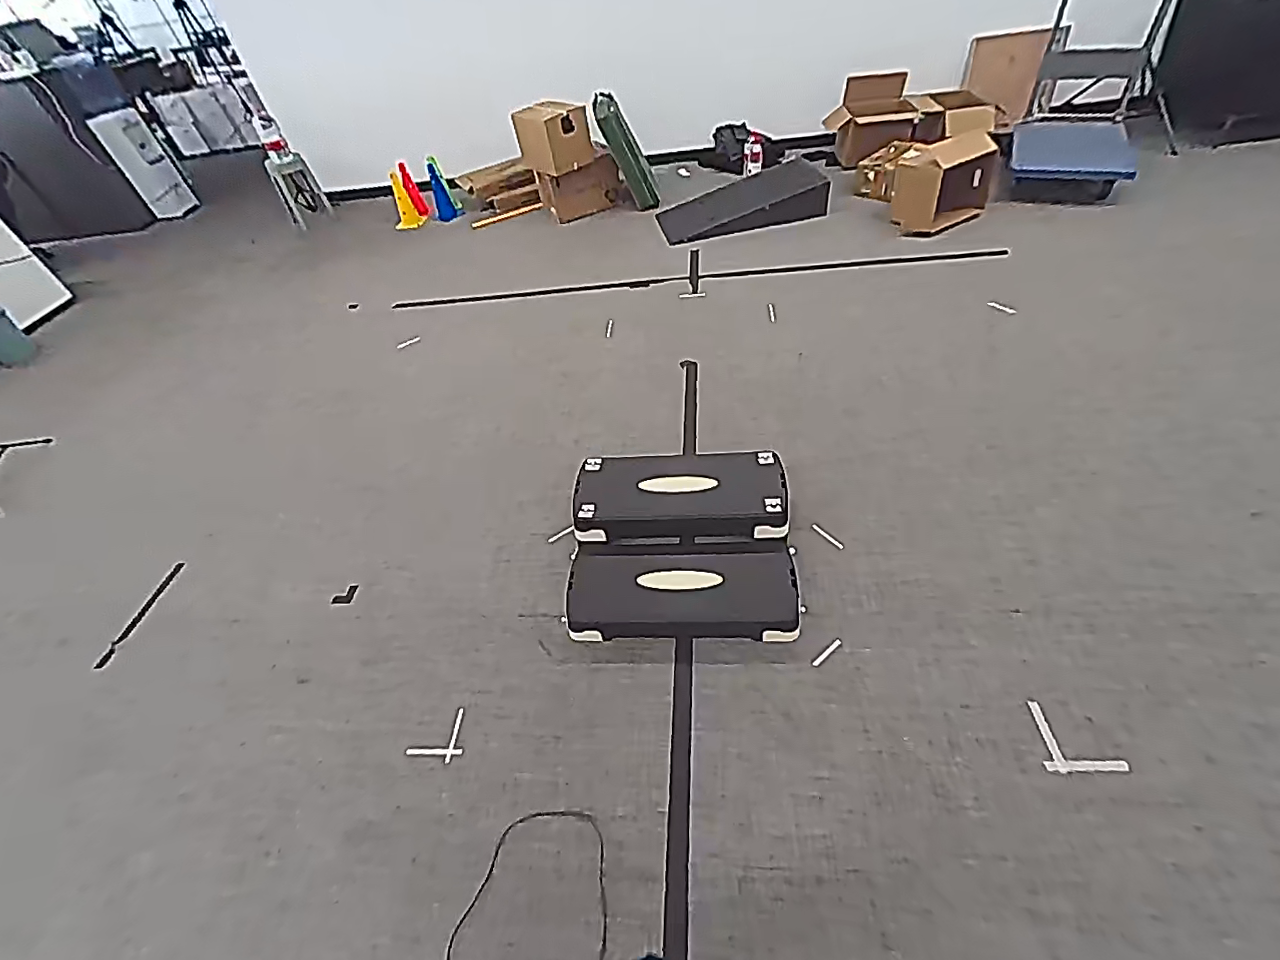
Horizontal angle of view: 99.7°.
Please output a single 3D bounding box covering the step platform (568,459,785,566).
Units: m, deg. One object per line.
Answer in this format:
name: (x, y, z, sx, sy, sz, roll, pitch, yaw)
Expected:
step platform: (0.113, 0.101, 1.743, 0.684, 0.204, 0.286, -2, 48, 6)
